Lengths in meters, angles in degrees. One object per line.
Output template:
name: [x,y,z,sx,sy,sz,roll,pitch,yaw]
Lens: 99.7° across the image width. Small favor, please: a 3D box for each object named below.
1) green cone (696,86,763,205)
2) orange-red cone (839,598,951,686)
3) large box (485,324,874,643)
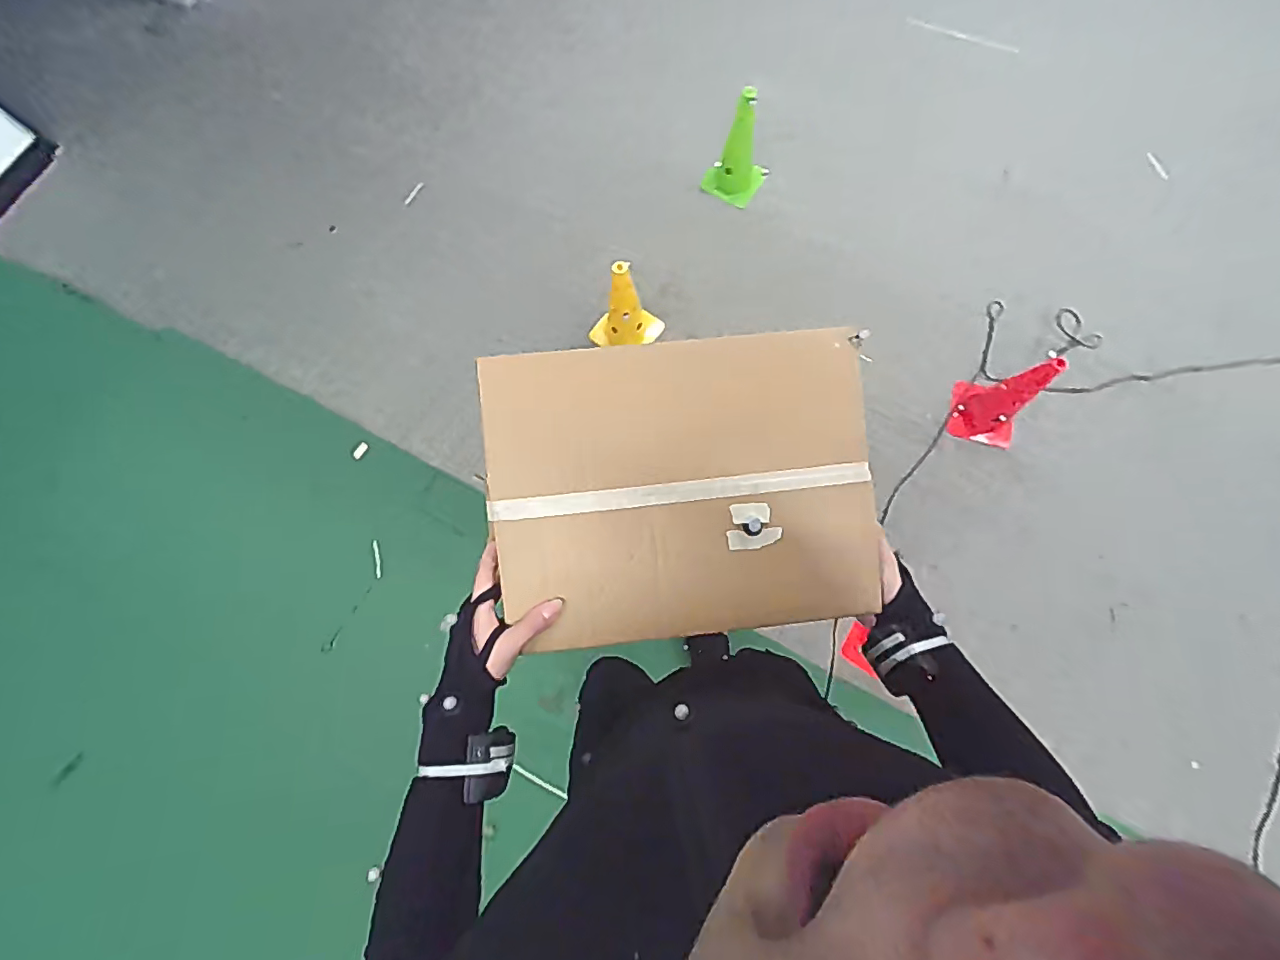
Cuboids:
green cone: [0.331,-1.186,1.872,0.200,0.368,0.202,32,79,10]
orange-red cone: [0.710,0.434,1.425,0.199,0.360,0.198,34,79,8]
large box: [0.036,-0.001,0.727,0.408,0.320,0.320,-5,92,-4]
